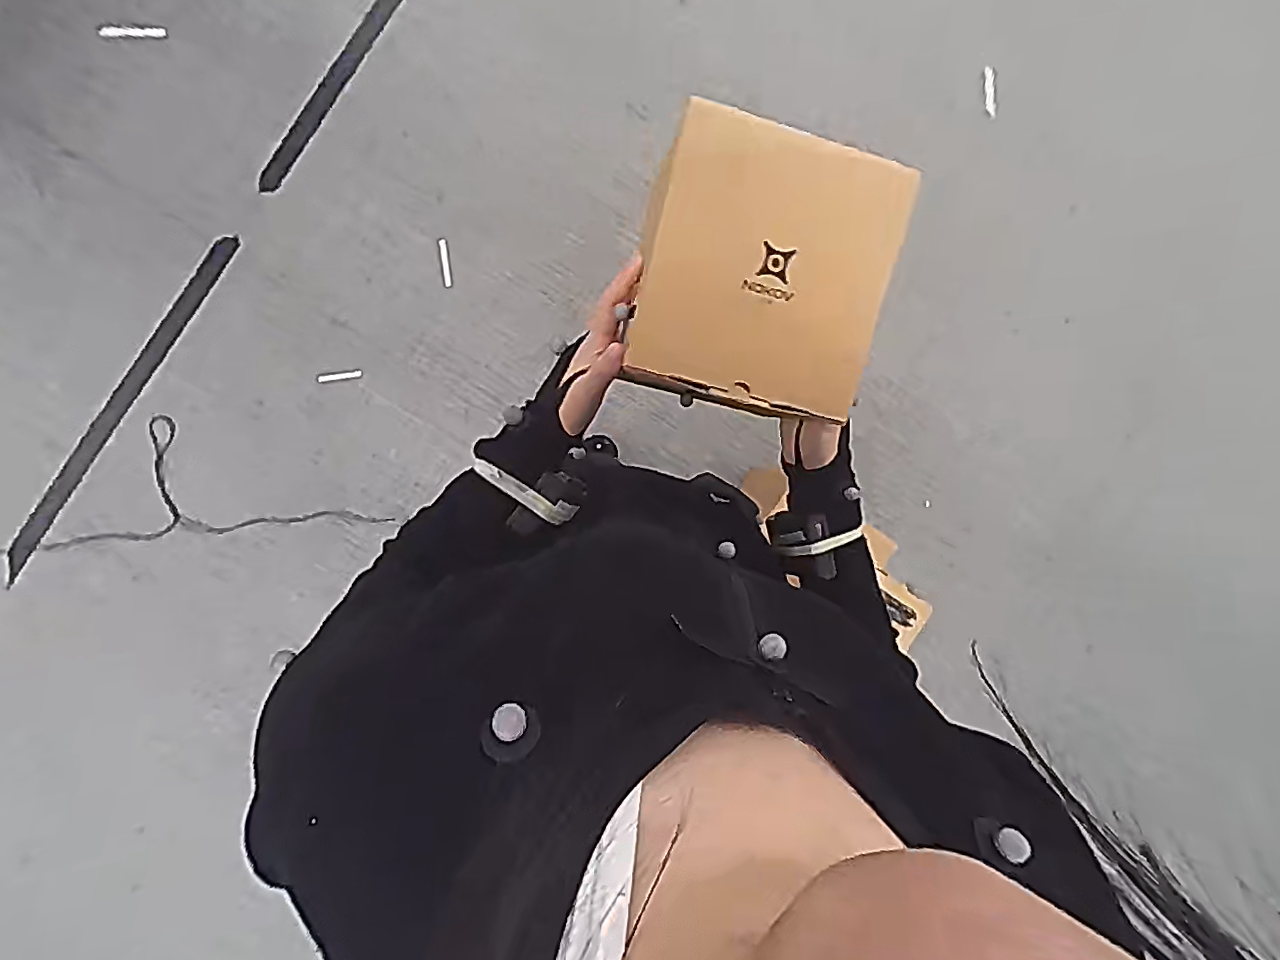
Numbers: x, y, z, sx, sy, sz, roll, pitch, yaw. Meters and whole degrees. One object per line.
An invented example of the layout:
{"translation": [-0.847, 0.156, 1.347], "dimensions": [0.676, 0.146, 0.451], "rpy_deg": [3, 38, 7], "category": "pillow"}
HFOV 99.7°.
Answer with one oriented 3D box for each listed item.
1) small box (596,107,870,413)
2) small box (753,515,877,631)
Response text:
{"translation": [0.055, -0.156, 0.441], "dimensions": [0.168, 0.176, 0.179], "rpy_deg": [6, 100, -6], "category": "small box"}
{"translation": [0.365, 0.191, 1.168], "dimensions": [0.168, 0.176, 0.179], "rpy_deg": [26, 92, -6], "category": "small box"}
